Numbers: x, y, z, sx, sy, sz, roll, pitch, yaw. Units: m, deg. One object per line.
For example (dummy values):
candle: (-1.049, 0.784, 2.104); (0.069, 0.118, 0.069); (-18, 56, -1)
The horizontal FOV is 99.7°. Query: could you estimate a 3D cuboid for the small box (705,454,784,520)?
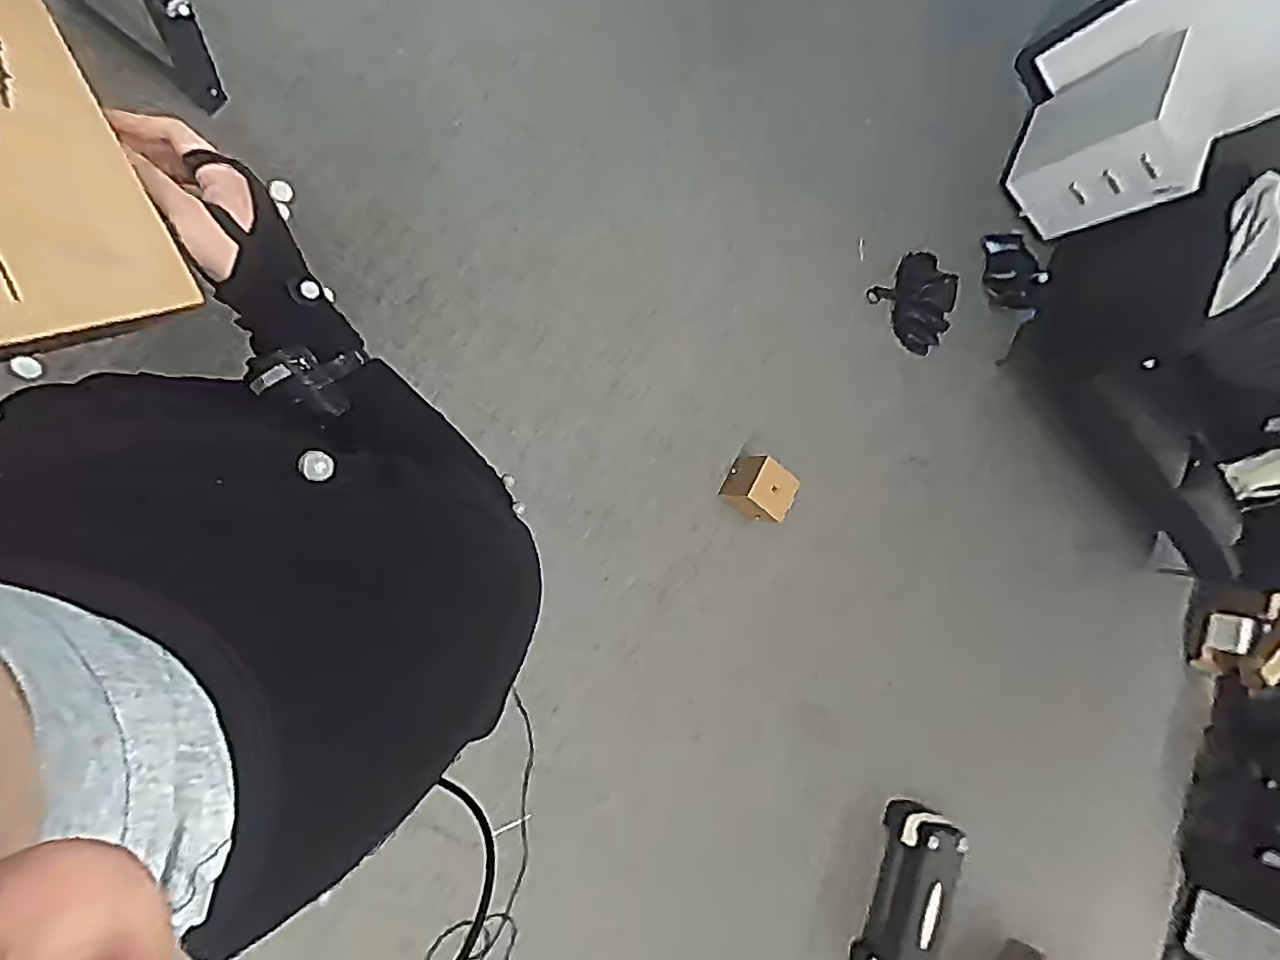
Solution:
small box: (0.363, 0.022, 1.892); (0.179, 0.176, 0.168); (35, 74, -24)
